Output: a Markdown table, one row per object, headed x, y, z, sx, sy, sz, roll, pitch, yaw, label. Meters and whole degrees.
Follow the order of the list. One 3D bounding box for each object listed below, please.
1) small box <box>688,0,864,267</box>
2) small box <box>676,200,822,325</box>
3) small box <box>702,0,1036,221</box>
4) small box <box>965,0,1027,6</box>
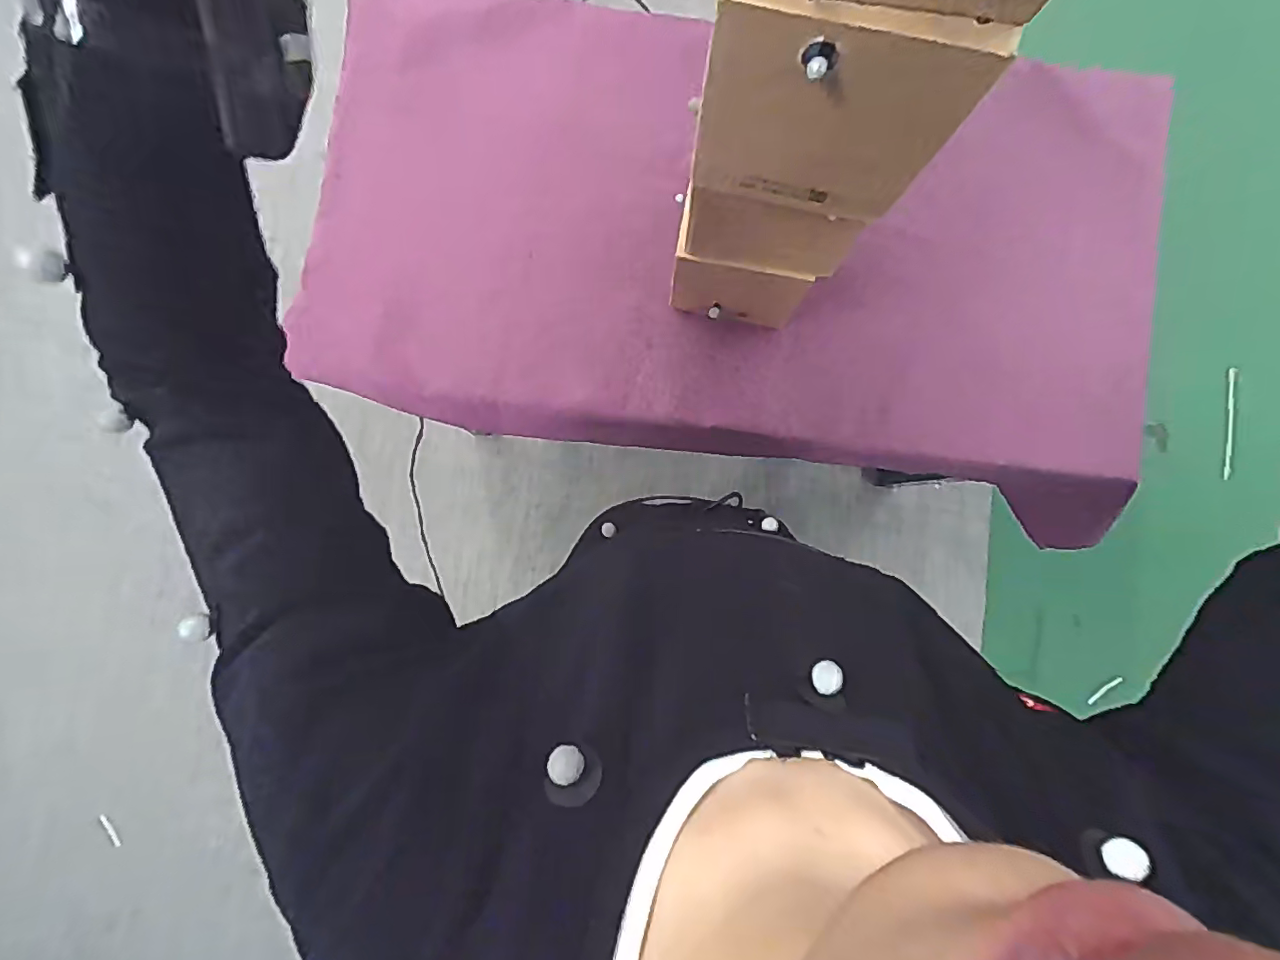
| x | y | z | sx | sy | sz | roll | pitch | yaw | label |
| --- | --- | --- | --- | --- | --- | --- | --- | --- | --- |
| 0.147 | -0.333 | 0.538 | 0.179 | 0.176 | 0.168 | 9 | 87 | 1 | small box |
| 0.143 | -0.324 | 0.699 | 0.168 | 0.176 | 0.179 | 11 | 88 | 2 | small box |
| 0.143 | -0.319 | 0.373 | 0.168 | 0.176 | 0.179 | 12 | 86 | 2 | small box |
| 0.140 | -0.342 | 0.210 | 0.168 | 0.176 | 0.179 | 8 | 86 | 1 | small box |
